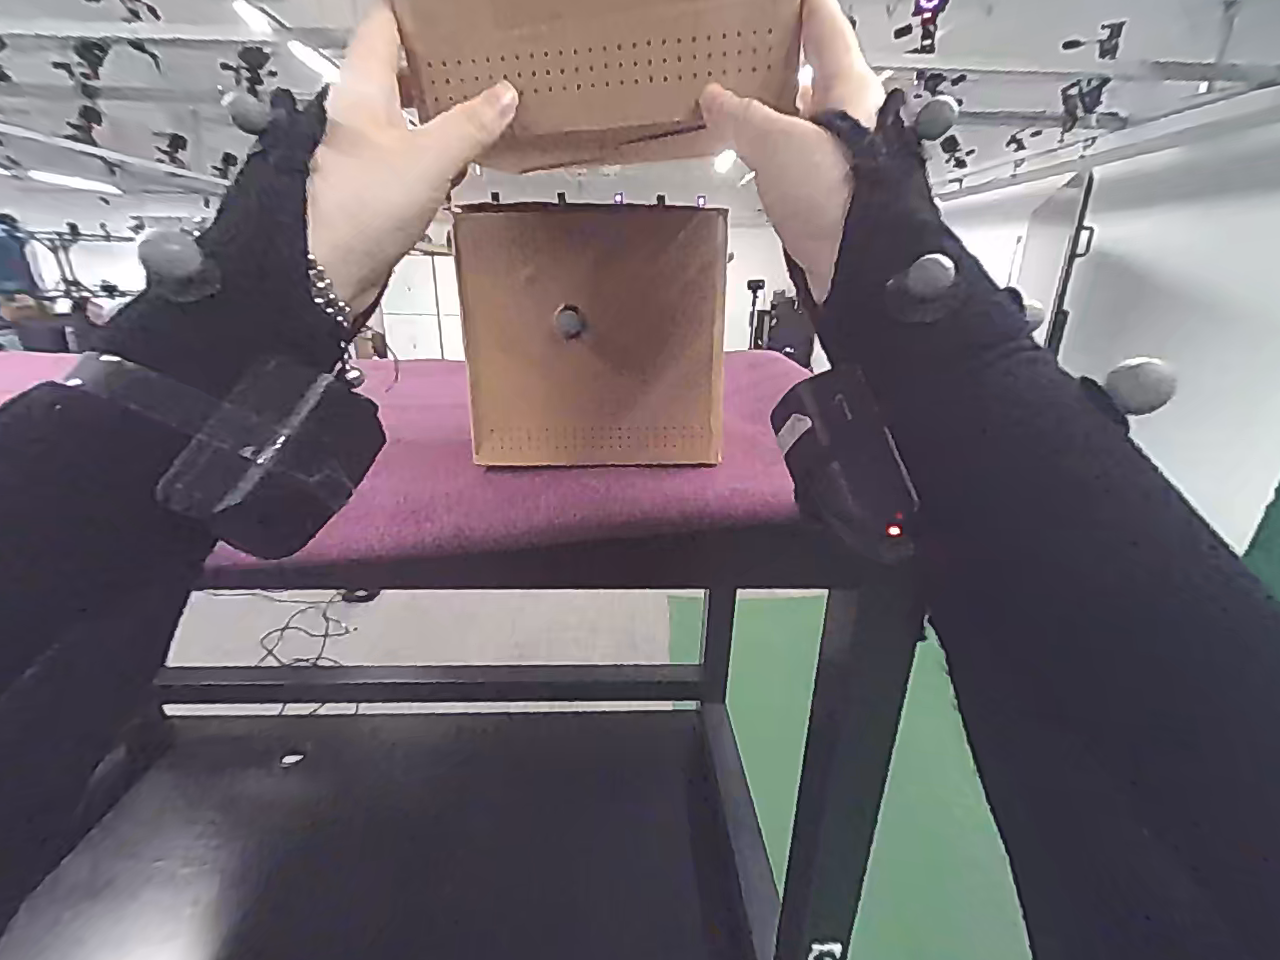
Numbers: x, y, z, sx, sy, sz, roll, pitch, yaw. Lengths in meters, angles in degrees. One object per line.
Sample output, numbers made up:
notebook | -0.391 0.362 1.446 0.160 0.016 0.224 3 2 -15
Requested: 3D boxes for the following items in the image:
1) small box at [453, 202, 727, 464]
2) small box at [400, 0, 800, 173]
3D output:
small box | -0.030 -0.112 0.434 0.179 0.176 0.168 -1 18 -1
small box | -0.018 -0.261 0.279 0.179 0.176 0.168 -3 26 3
